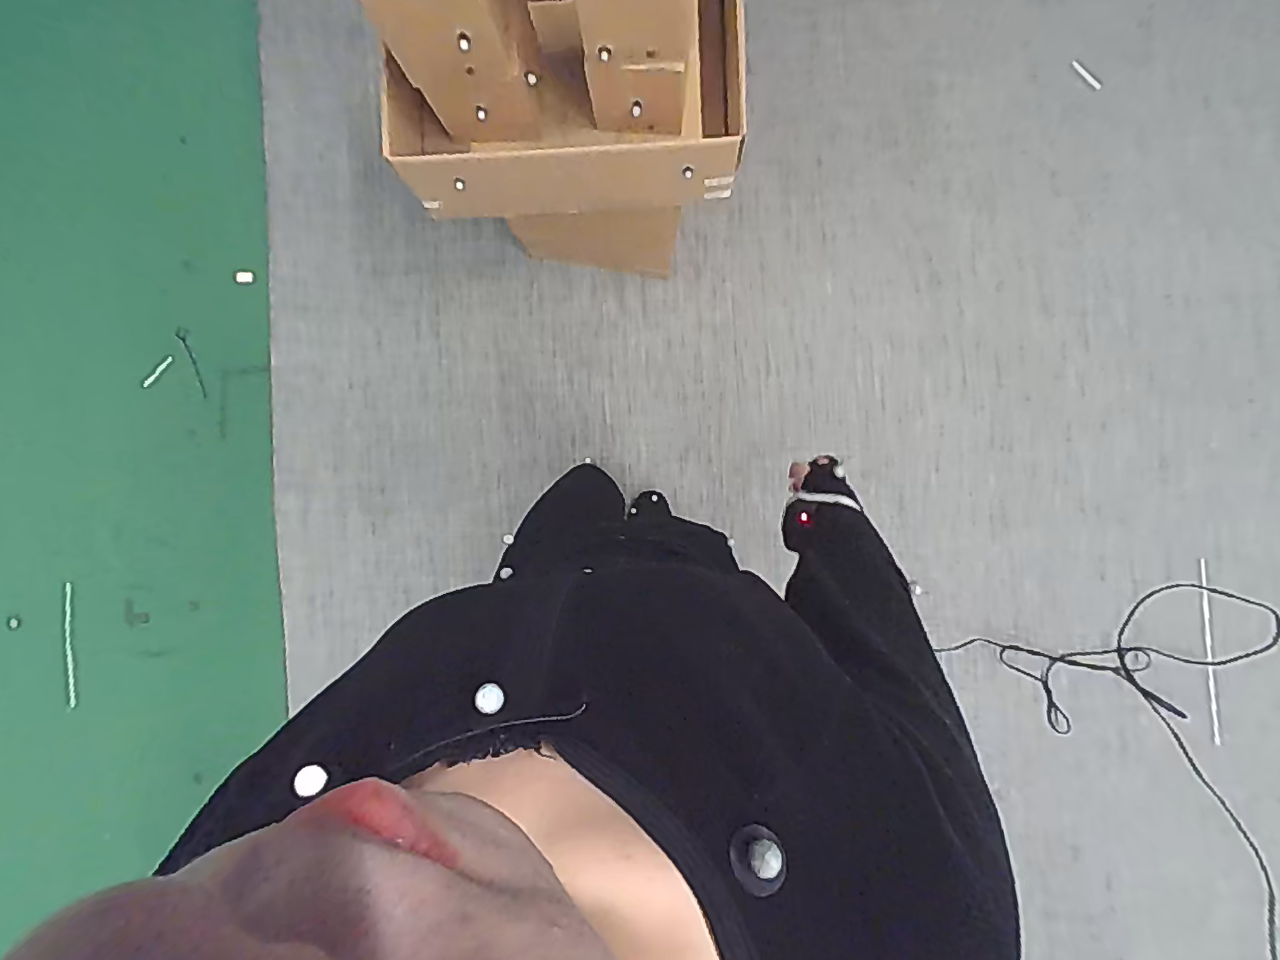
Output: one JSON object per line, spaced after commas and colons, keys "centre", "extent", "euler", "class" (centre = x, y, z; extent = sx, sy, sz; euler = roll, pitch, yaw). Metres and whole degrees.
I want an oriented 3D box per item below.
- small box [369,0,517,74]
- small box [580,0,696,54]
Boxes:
{"centre": [-0.285, -0.742, 0.802], "extent": [0.168, 0.176, 0.179], "euler": [0, 89, 3], "class": "small box"}
{"centre": [0.000, -0.760, 0.782], "extent": [0.168, 0.176, 0.179], "euler": [2, 89, 4], "class": "small box"}
